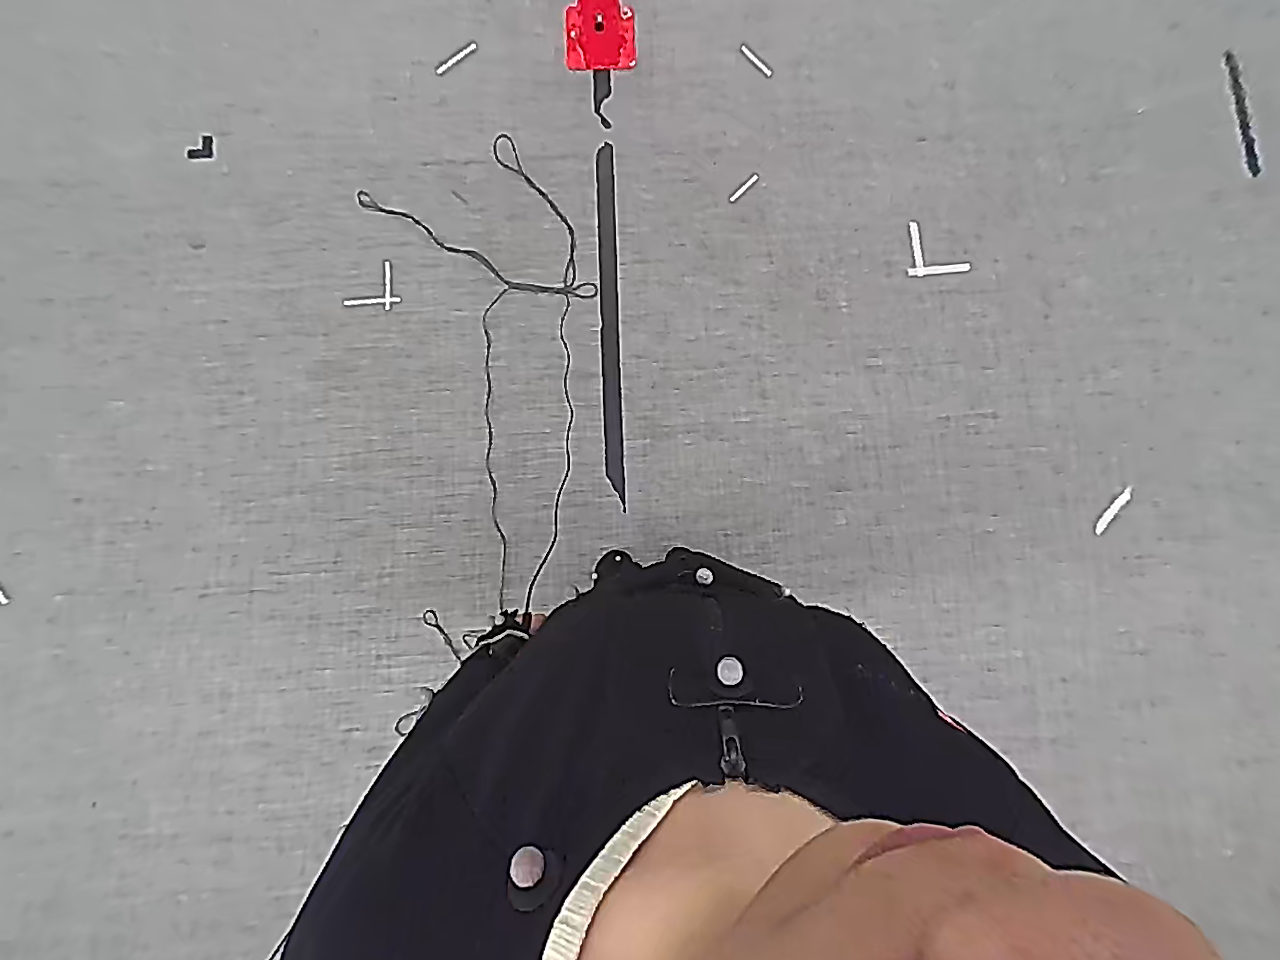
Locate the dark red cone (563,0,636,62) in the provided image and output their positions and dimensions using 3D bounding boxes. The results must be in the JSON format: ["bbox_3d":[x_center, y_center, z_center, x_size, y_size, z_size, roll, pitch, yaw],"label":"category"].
[{"bbox_3d":[-0.115,-1.291,1.356,0.201,0.394,0.202,-3,84,0],"label":"dark red cone"}]
